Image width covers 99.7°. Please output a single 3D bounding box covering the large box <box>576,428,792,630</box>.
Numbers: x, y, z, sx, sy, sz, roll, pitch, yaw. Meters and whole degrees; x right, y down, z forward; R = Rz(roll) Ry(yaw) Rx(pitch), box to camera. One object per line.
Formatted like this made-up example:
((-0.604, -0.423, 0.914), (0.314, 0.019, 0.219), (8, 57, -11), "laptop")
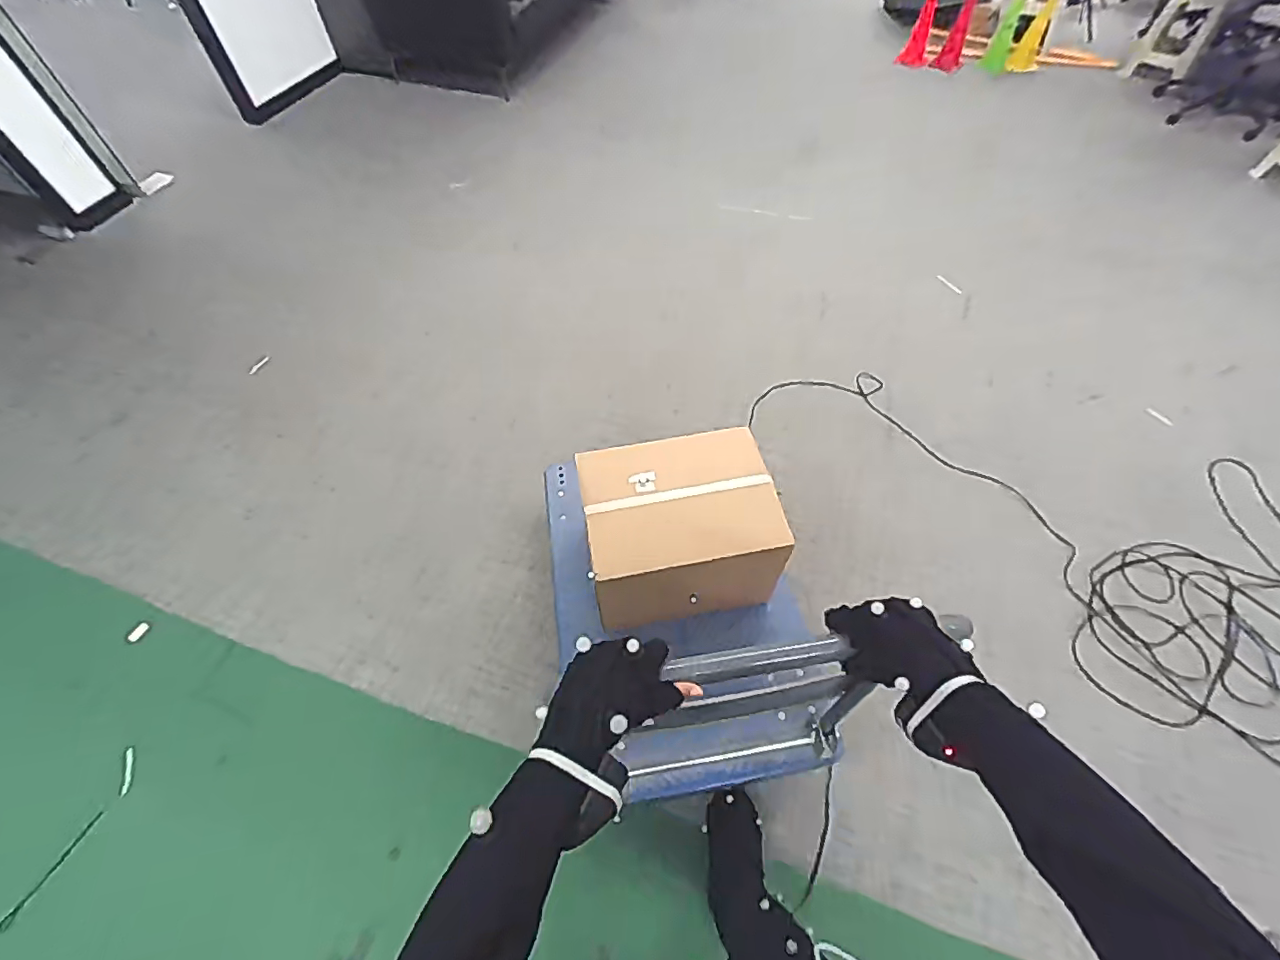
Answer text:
((0.086, 0.121, 1.267), (0.408, 0.320, 0.320), (-11, 56, -5), "large box")
